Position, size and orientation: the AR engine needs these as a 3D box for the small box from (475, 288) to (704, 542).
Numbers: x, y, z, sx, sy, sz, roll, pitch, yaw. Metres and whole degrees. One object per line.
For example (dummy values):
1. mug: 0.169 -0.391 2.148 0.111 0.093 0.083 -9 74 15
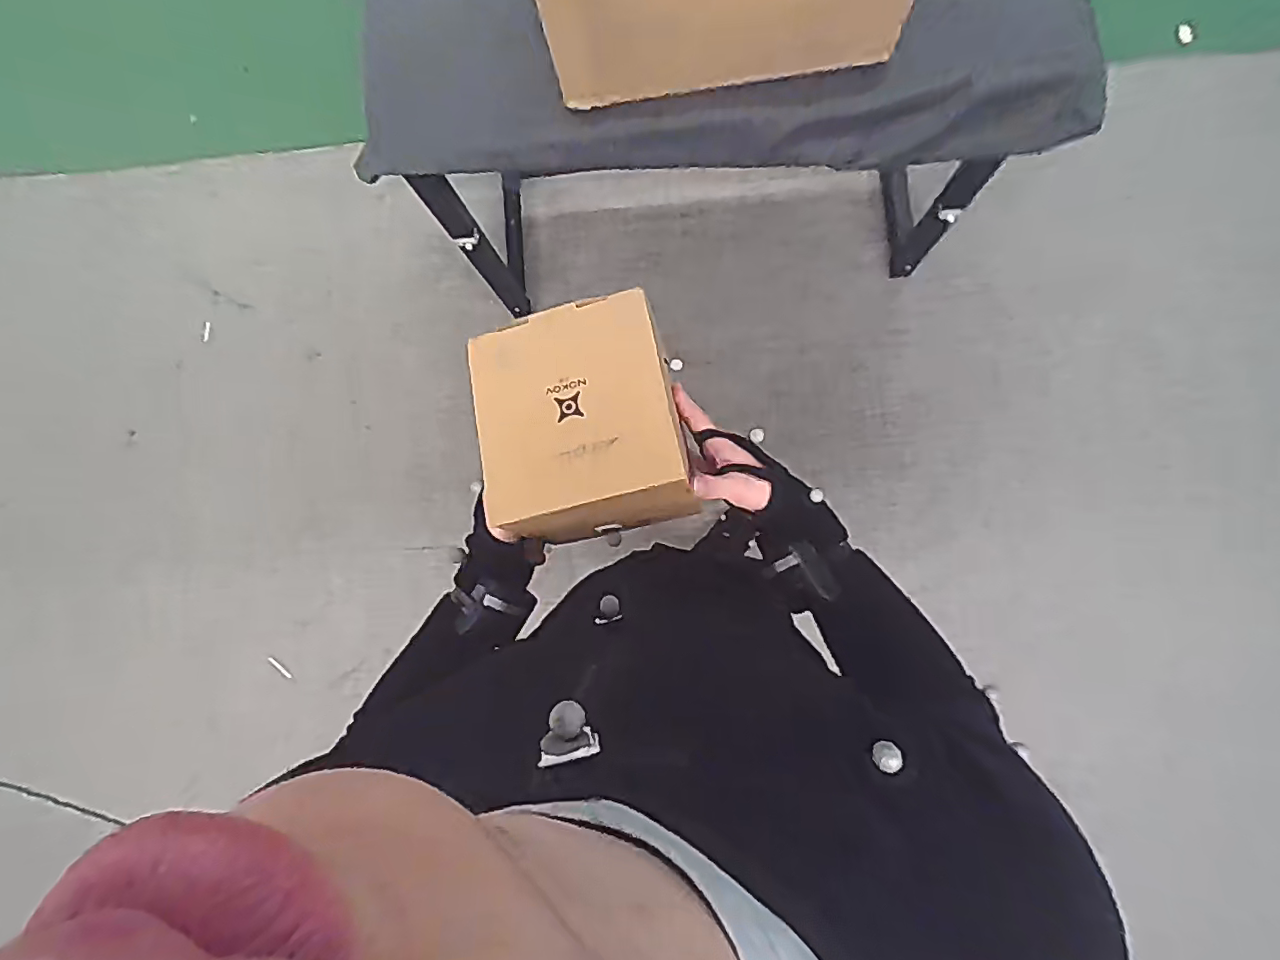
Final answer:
1. small box: -0.039 -0.048 0.525 0.168 0.176 0.179 -14 76 8
